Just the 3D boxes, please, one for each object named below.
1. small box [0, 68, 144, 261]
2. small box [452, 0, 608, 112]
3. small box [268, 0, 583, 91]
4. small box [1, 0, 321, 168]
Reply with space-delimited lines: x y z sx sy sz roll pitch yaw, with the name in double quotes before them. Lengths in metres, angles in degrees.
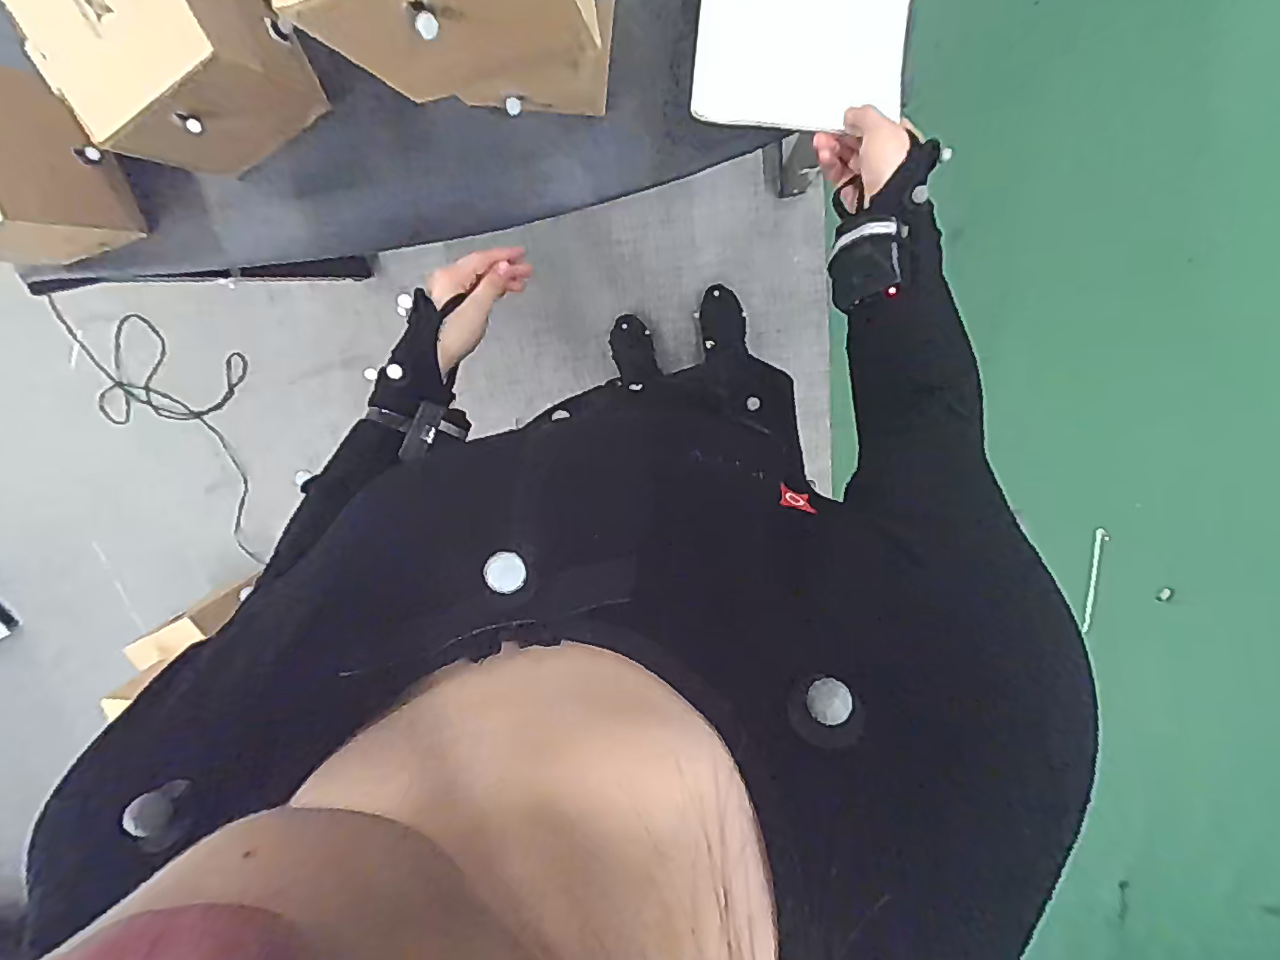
"small box" -0.775 -0.375 0.650 0.168 0.176 0.179 -11 108 12
"small box" -0.128 -0.481 0.511 0.168 0.176 0.179 9 112 6
"small box" -0.146 -0.402 0.367 0.179 0.176 0.168 -7 108 12
"small box" -0.494 -0.464 0.576 0.179 0.176 0.168 -21 106 15
